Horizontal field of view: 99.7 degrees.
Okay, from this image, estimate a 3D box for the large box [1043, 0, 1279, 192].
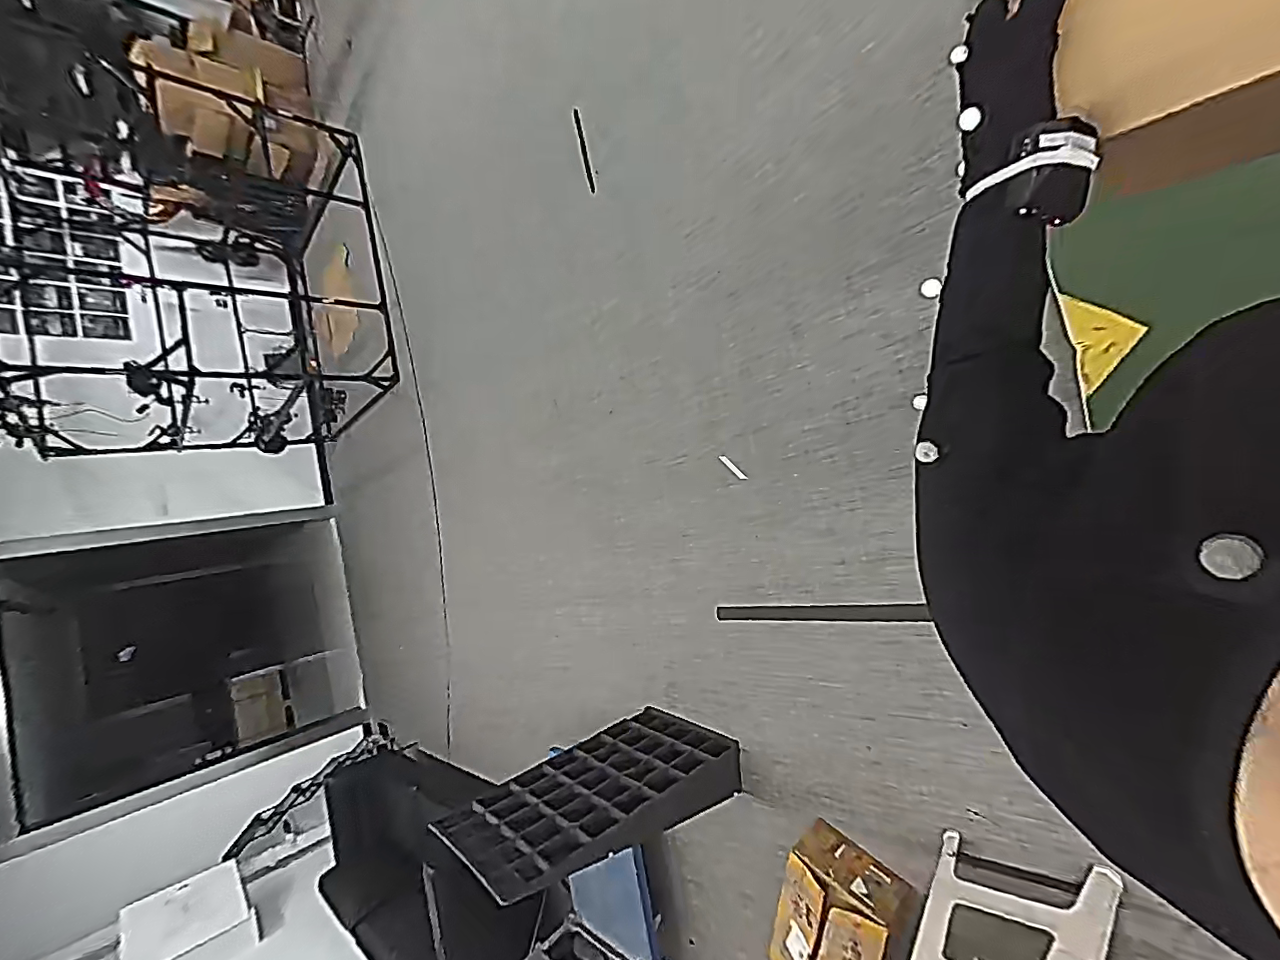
[{"bbox_3d":[0.564,-0.469,0.389,0.408,0.320,0.320,-3,100,50],"label":"large box"}]
